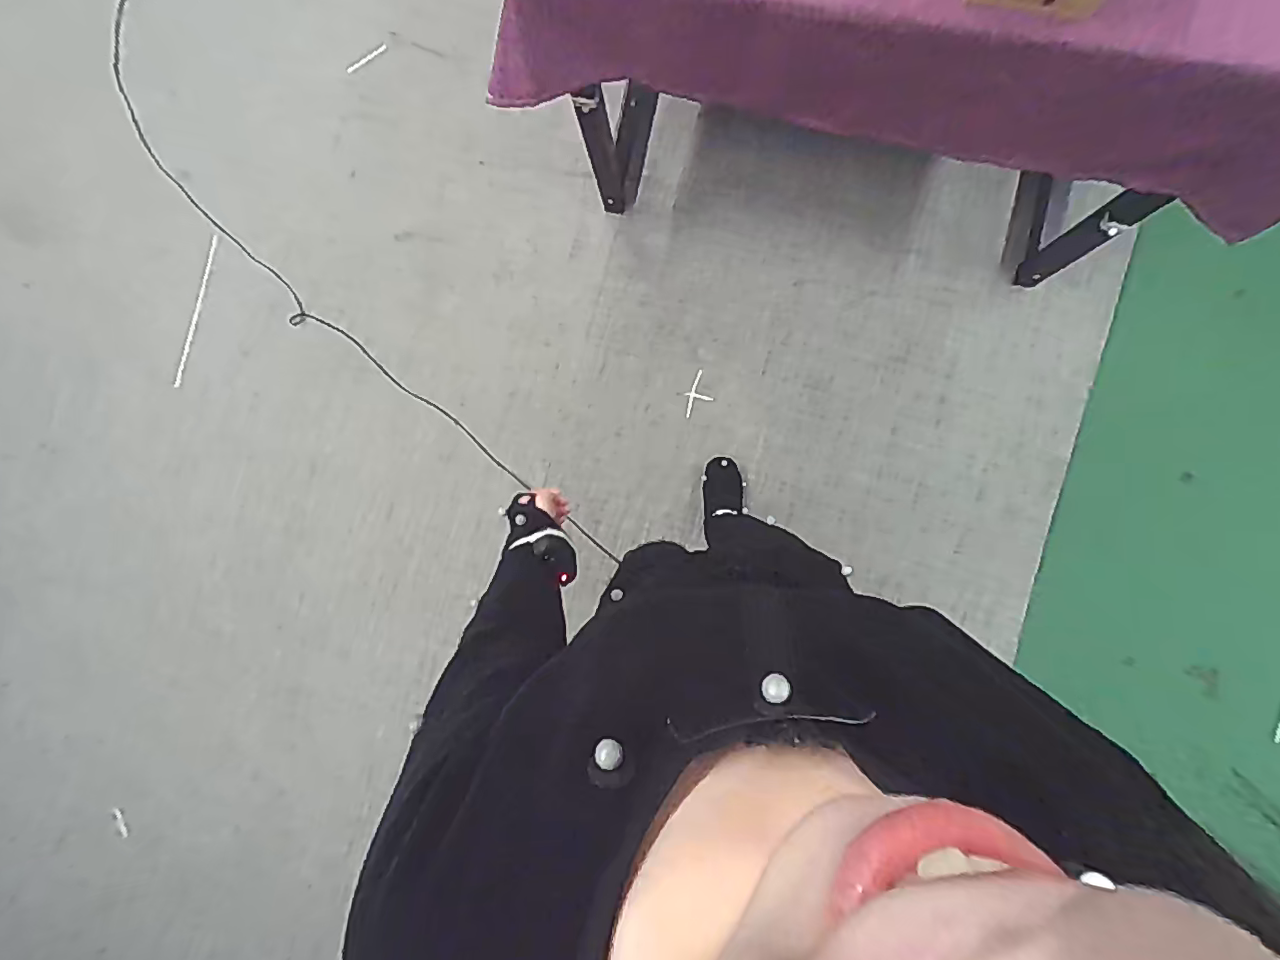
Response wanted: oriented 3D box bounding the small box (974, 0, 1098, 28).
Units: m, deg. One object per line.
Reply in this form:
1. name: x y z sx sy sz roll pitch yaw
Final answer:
1. small box: 0.541 -0.723 0.674 0.168 0.176 0.179 16 89 5
